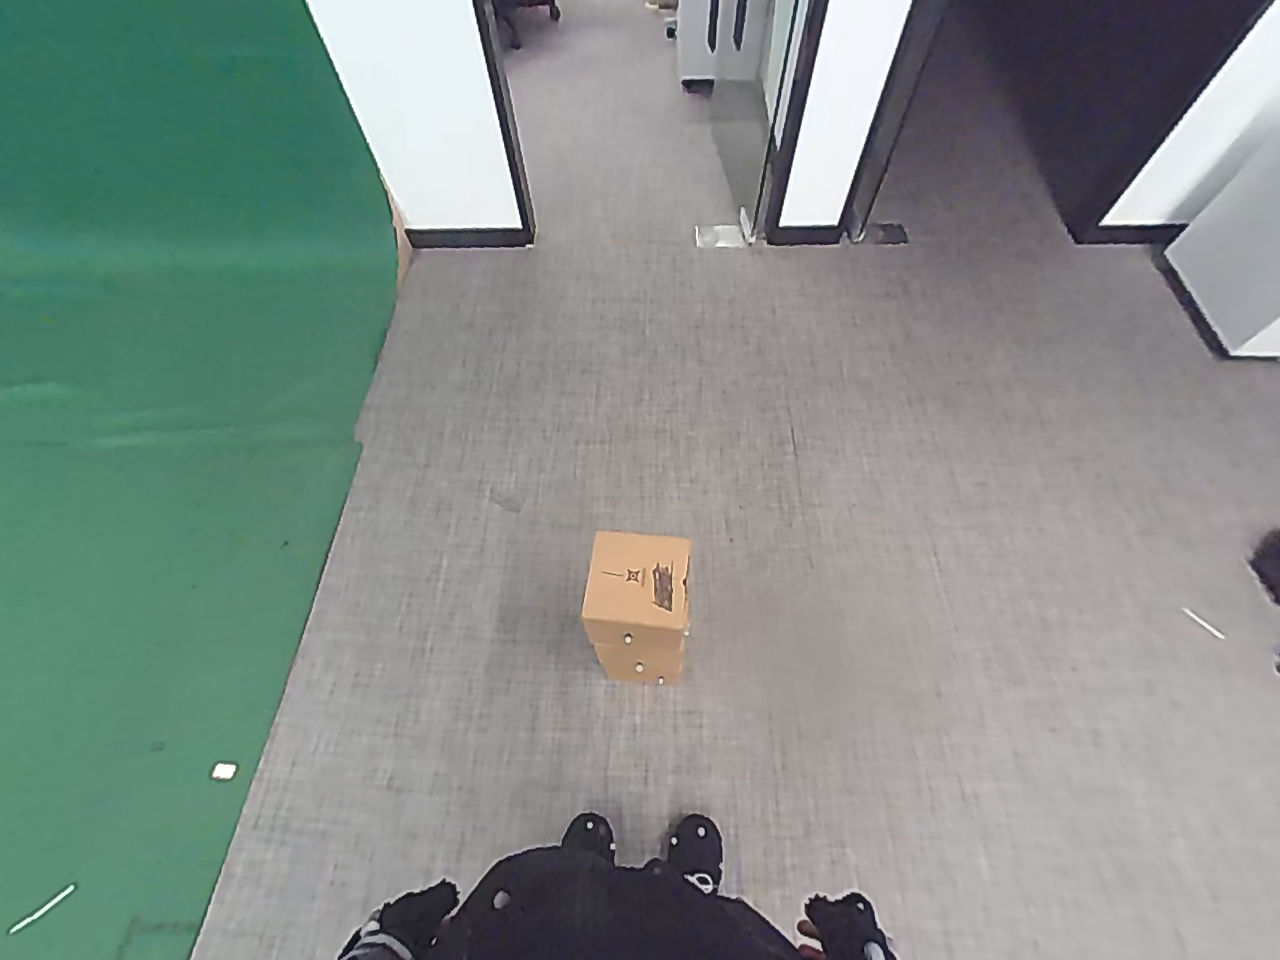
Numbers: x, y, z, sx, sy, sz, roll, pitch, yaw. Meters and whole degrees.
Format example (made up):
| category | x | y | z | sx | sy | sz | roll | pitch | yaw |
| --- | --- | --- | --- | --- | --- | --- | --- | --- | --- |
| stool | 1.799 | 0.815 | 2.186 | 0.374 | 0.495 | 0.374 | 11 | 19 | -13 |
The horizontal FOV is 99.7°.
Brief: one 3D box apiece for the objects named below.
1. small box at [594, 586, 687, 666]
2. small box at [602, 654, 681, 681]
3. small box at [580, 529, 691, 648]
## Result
| category | x | y | z | sx | sy | sz | roll | pitch | yaw |
| --- | --- | --- | --- | --- | --- | --- | --- | --- | --- |
| small box | 0.003 | 0.293 | 1.157 | 0.179 | 0.176 | 0.168 | 5 | 60 | 3 |
| small box | 0.009 | 0.380 | 1.296 | 0.179 | 0.176 | 0.168 | 2 | 59 | 4 |
| small box | -0.002 | 0.208 | 1.016 | 0.179 | 0.176 | 0.168 | 6 | 60 | 6 |
